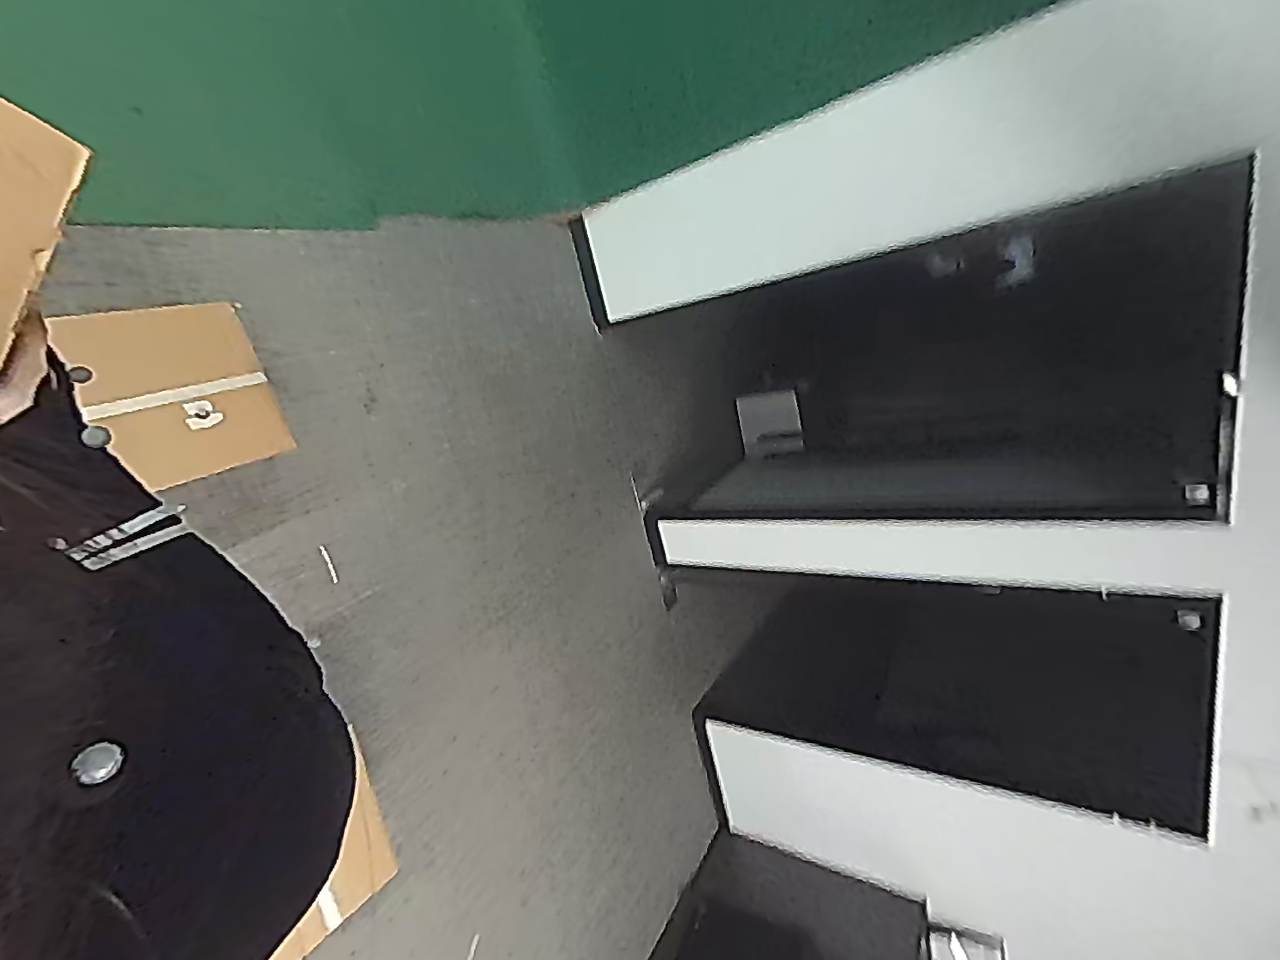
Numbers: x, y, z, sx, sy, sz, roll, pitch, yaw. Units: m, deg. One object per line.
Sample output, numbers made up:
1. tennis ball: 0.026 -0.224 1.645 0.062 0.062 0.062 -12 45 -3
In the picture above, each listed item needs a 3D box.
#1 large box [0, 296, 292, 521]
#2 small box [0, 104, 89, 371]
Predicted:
1. large box: -1.003 -0.142 1.045 0.408 0.320 0.320 -35 116 -51
2. small box: -0.494 -0.168 0.318 0.179 0.176 0.168 26 72 -56
